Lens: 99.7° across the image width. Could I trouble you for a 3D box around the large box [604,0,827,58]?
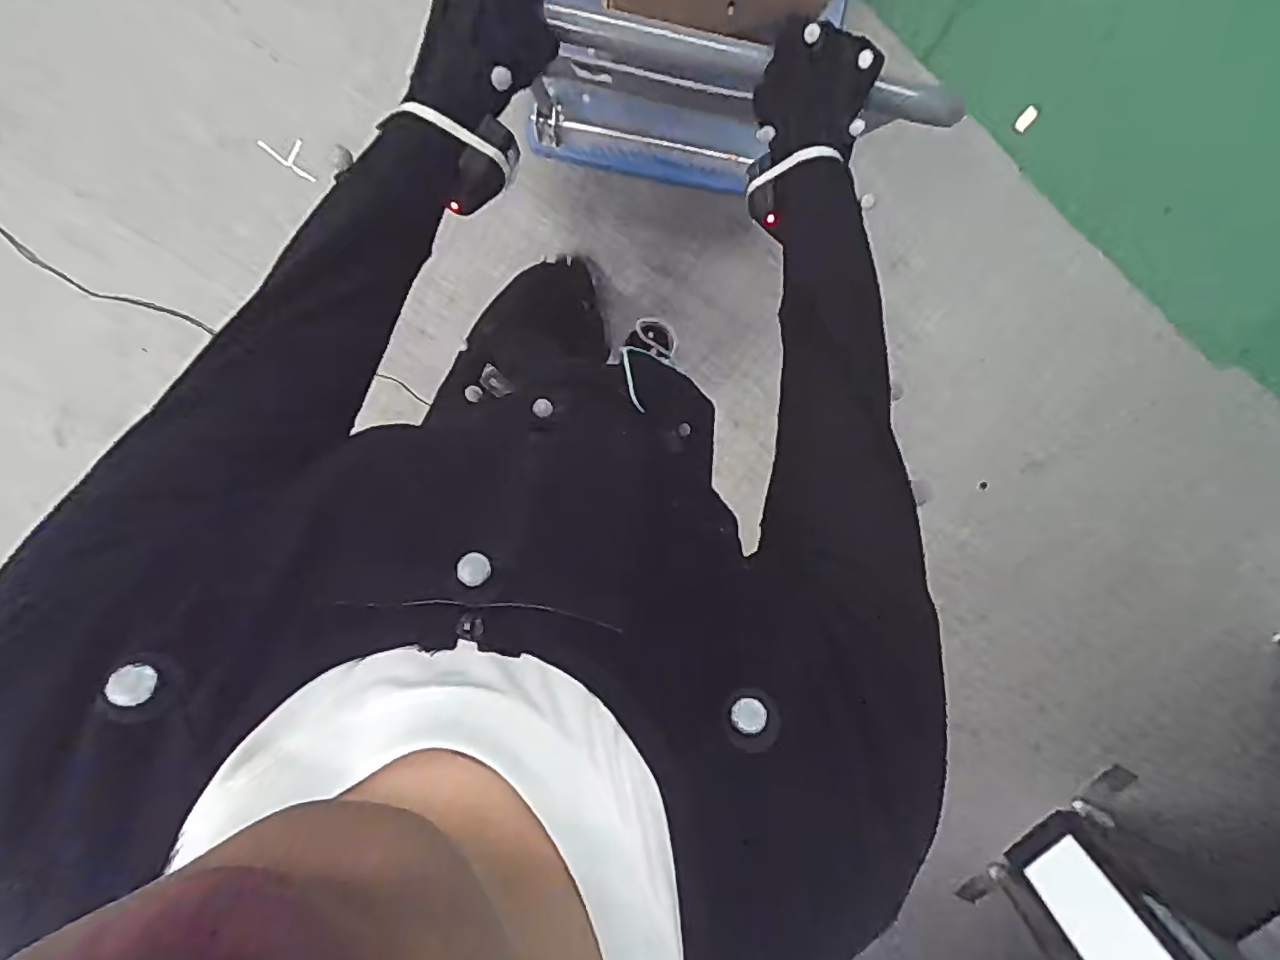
[{"bbox_3d":[0.123,-0.928,0.837,0.408,0.320,0.320,-10,110,3],"label":"large box"}]
